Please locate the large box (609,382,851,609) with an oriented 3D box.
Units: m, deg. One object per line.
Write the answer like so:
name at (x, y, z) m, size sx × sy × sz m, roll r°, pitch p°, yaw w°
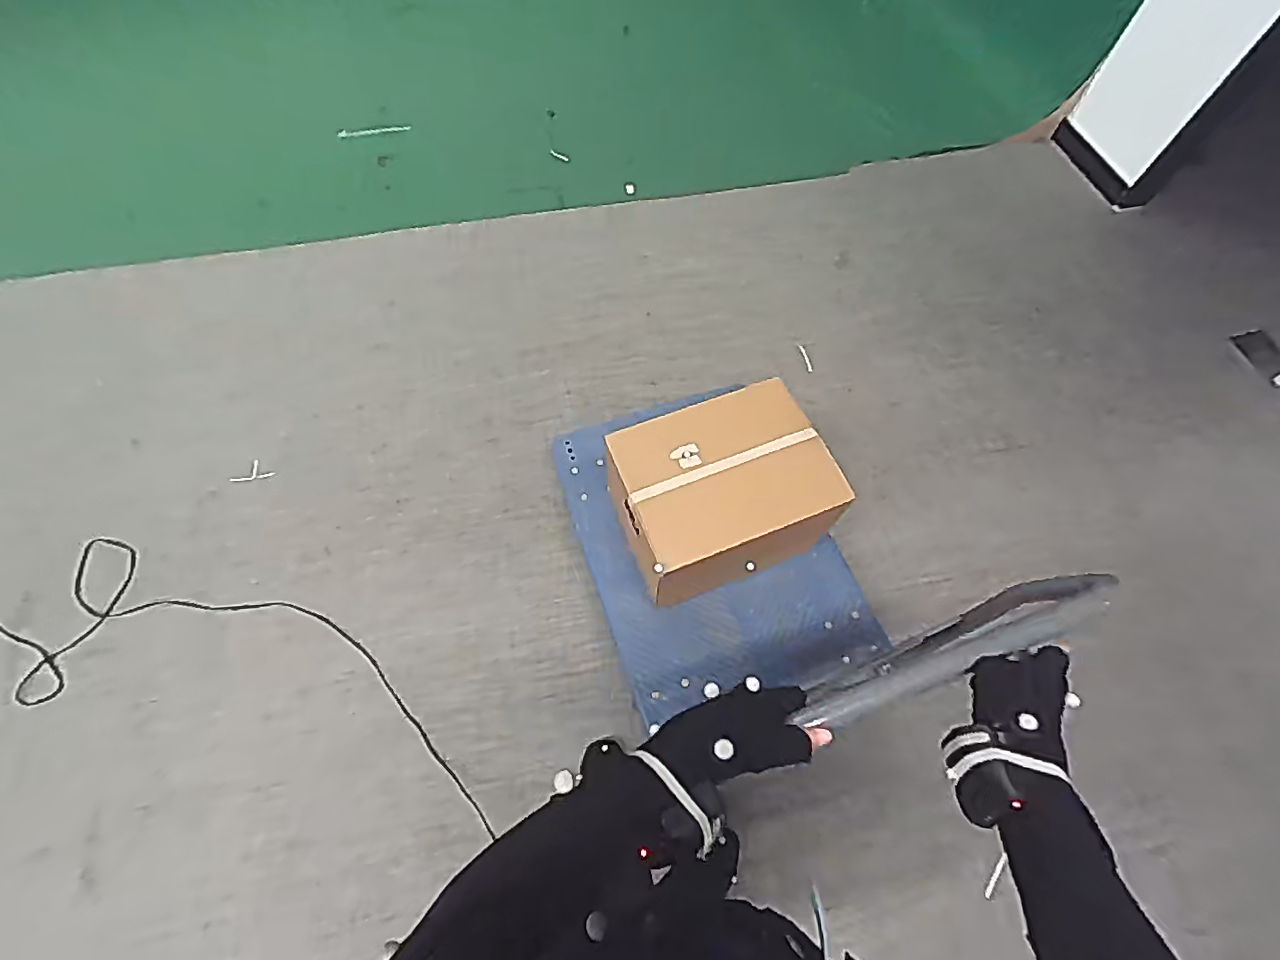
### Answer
large box at (0.175, 0.046, 1.209) m, size 0.408 × 0.320 × 0.320 m, roll -21°, pitch 66°, yaw -9°
